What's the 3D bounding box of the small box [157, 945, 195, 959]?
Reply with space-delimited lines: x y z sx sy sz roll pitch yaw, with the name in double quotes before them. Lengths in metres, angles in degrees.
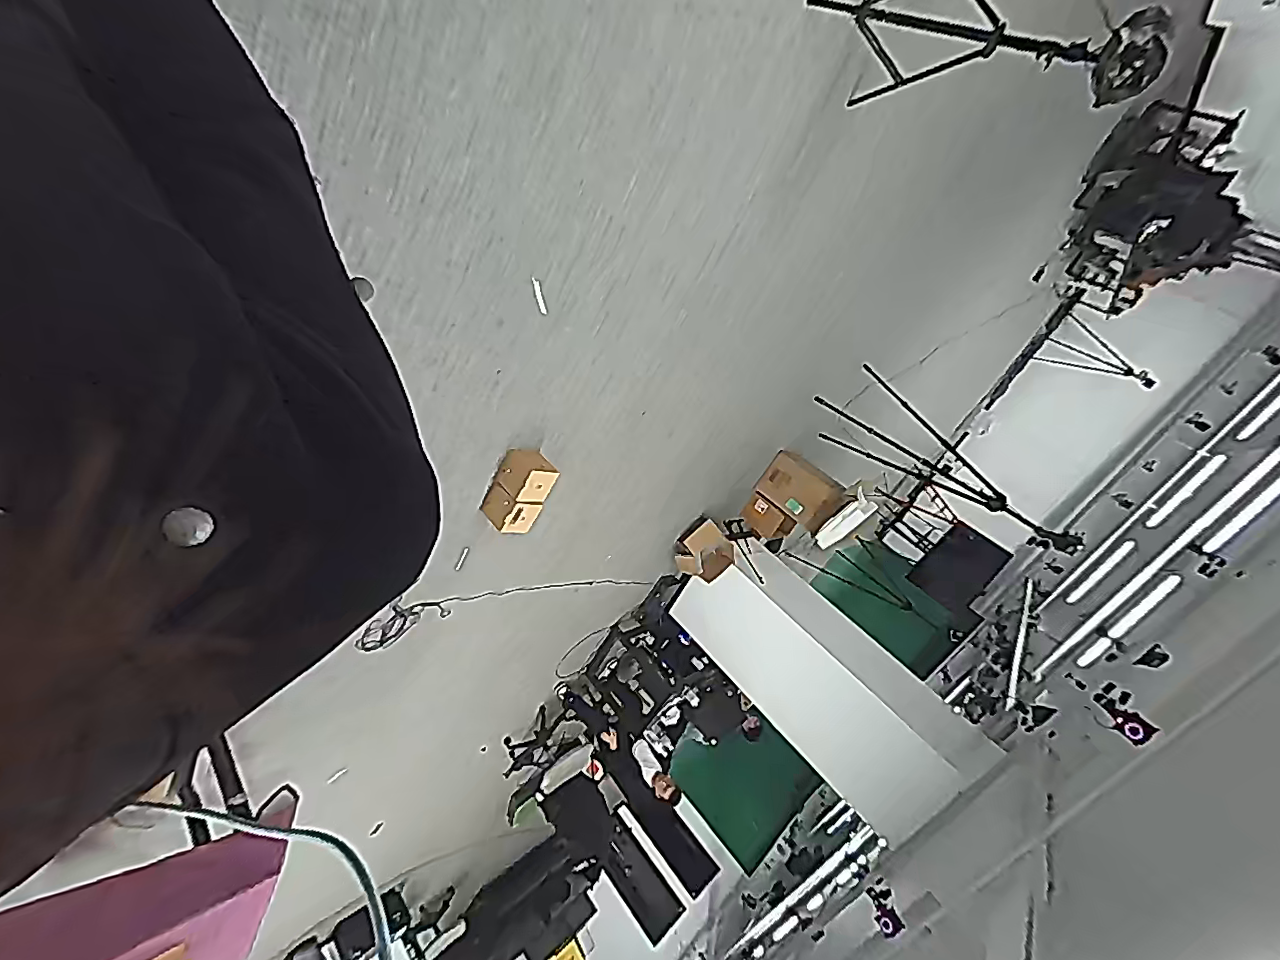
"small box" -1.414 1.532 1.586 0.168 0.176 0.179 -2 127 -53
